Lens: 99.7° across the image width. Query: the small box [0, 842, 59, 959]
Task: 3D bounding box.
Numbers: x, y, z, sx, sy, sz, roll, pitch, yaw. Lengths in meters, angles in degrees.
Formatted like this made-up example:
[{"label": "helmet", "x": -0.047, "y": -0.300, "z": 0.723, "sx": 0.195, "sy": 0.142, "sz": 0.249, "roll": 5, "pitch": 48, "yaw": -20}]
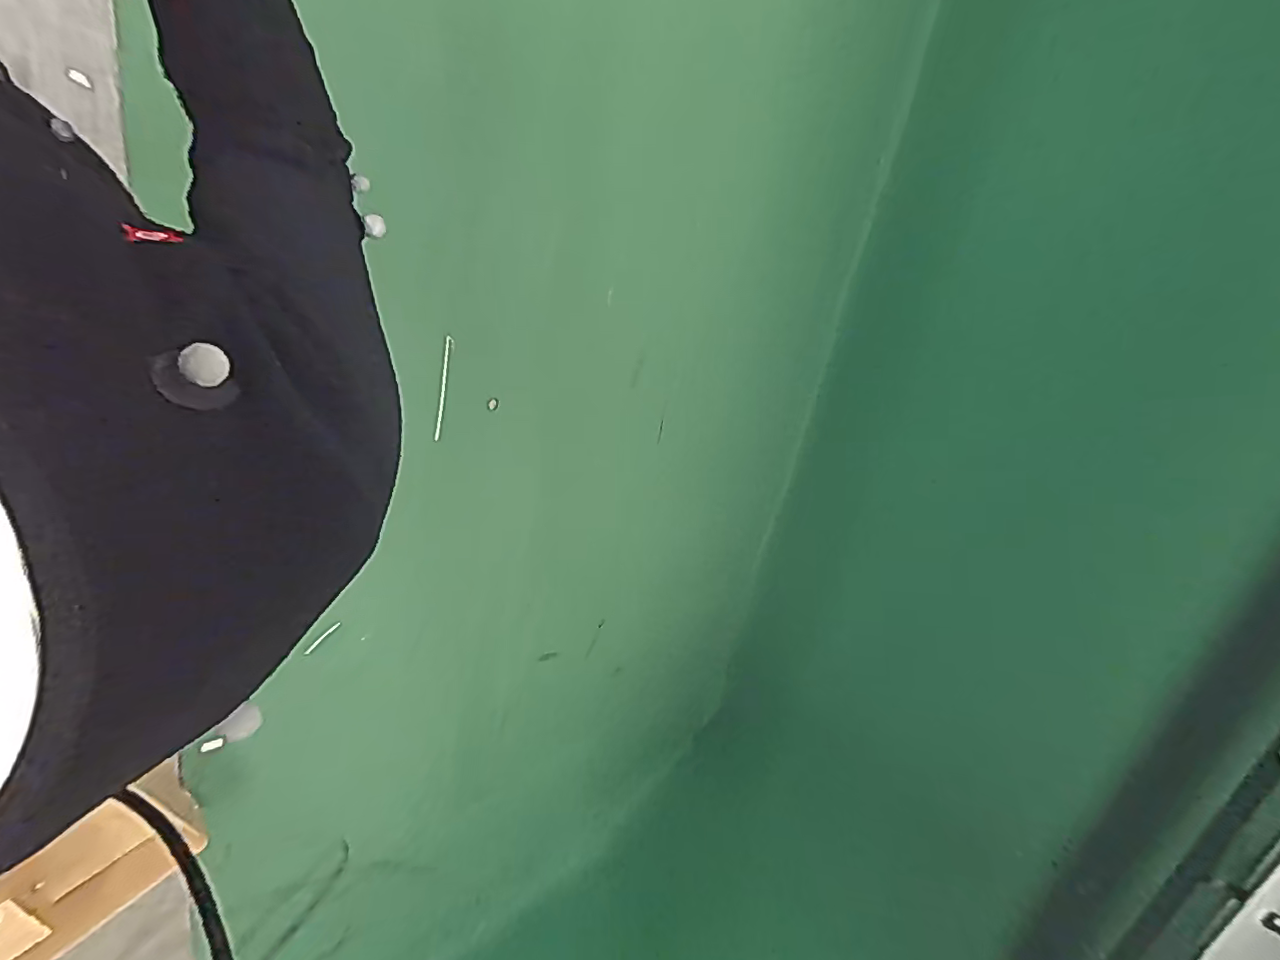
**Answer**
[{"label": "small box", "x": -1.399, "y": 0.922, "z": 1.149, "sx": 0.168, "sy": 0.176, "sz": 0.179, "roll": -28, "pitch": 133, "yaw": -38}]
